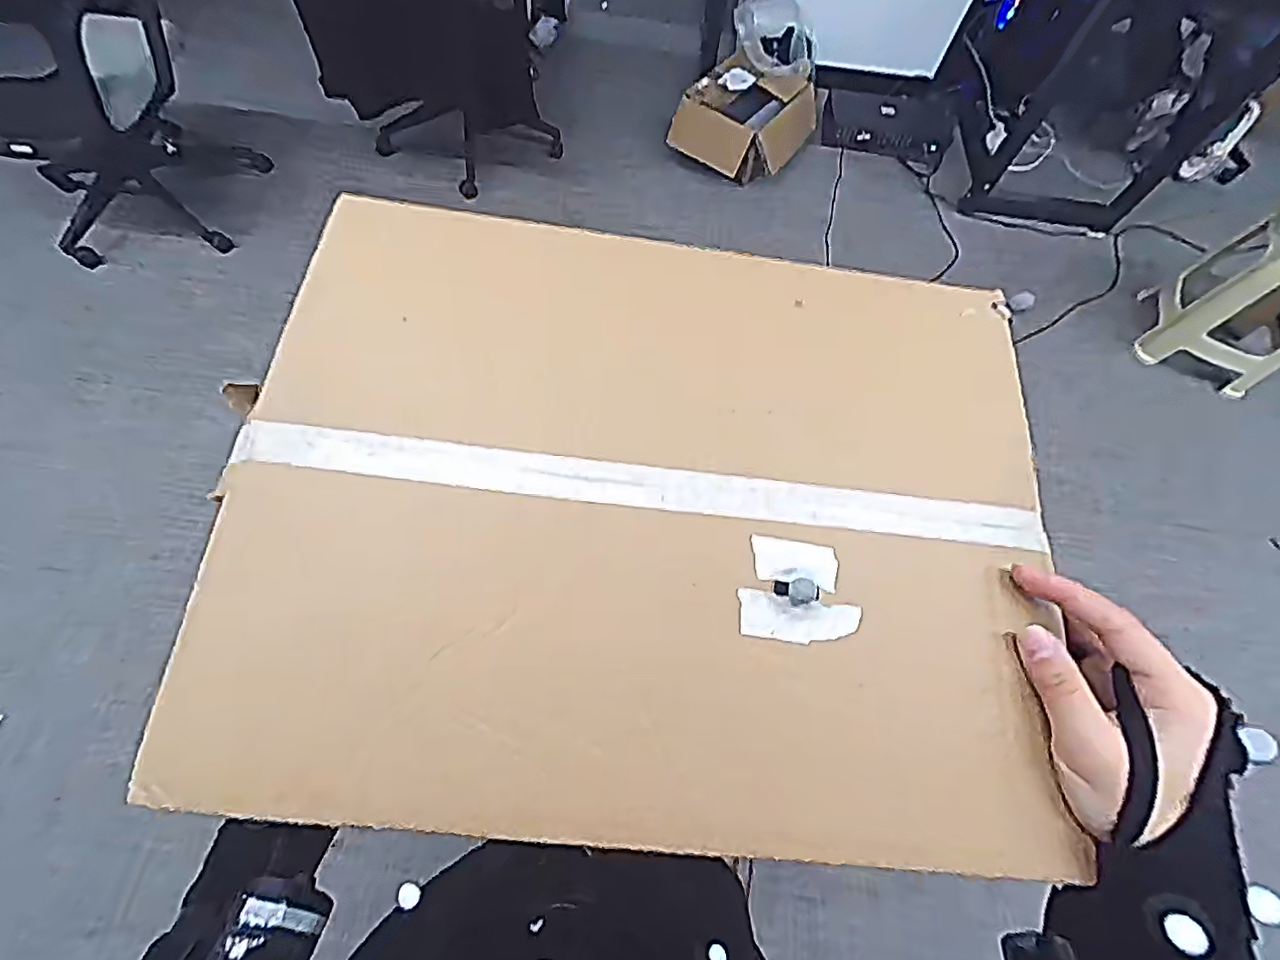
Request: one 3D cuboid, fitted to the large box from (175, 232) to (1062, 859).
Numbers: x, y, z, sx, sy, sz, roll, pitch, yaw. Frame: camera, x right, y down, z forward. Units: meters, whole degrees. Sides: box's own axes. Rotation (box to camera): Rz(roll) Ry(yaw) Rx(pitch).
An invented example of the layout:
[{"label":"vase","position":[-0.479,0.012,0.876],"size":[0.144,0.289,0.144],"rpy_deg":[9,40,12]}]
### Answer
[{"label":"large box","position":[-0.003,0.062,0.427],"size":[0.408,0.320,0.320],"rpy_deg":[7,71,-4]}]
